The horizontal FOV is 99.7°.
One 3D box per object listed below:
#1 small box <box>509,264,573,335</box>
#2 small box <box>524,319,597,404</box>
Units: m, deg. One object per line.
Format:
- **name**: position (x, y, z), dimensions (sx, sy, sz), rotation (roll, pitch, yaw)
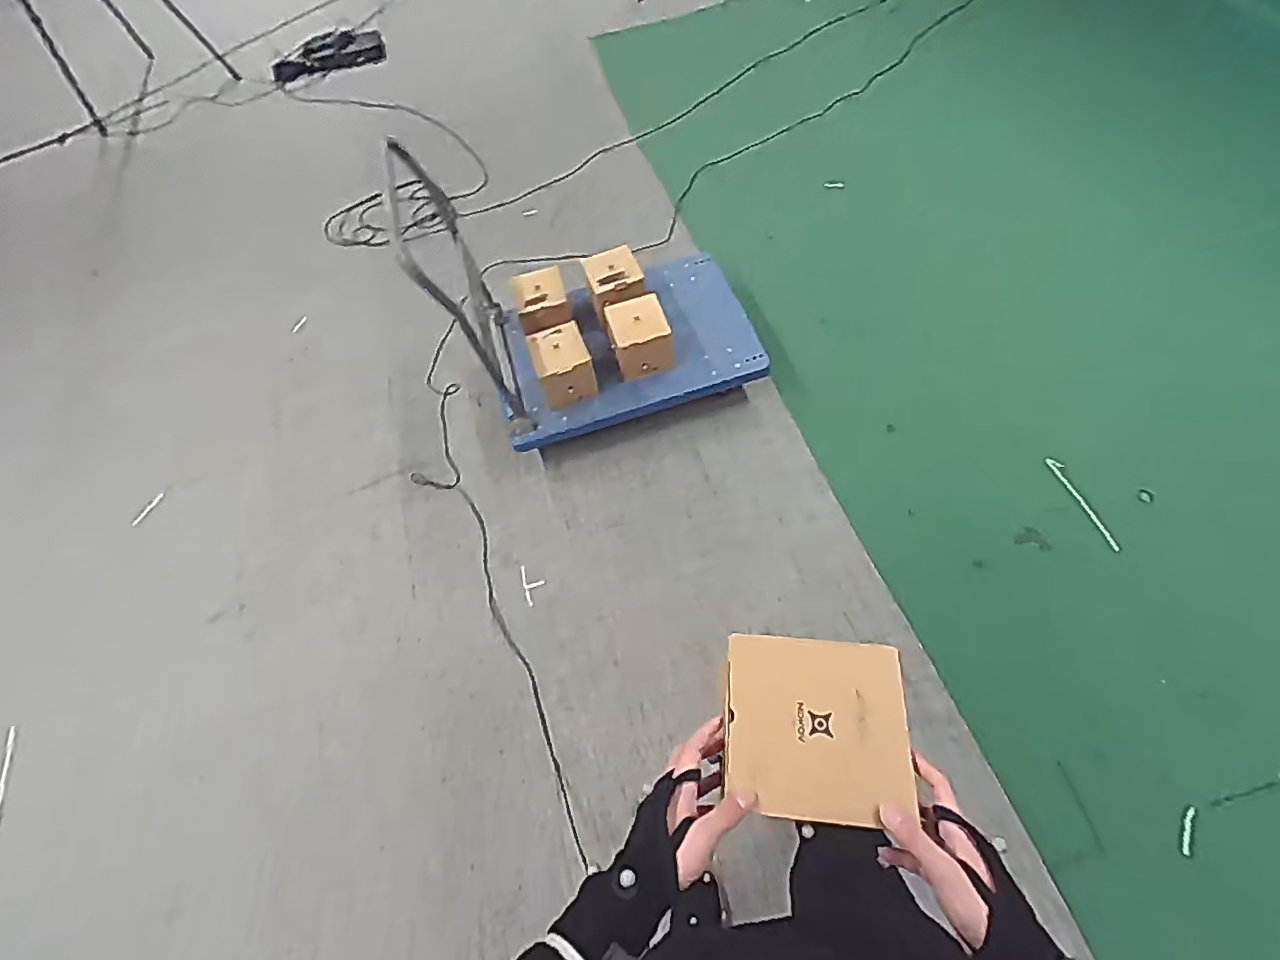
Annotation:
- **small box**: position (-0.321, -0.576, 1.795), dimensions (0.168, 0.176, 0.179), rotation (-16, 62, -3)
- **small box**: position (-0.241, -0.357, 1.673), dimensions (0.168, 0.176, 0.179), rotation (-20, 63, -4)
